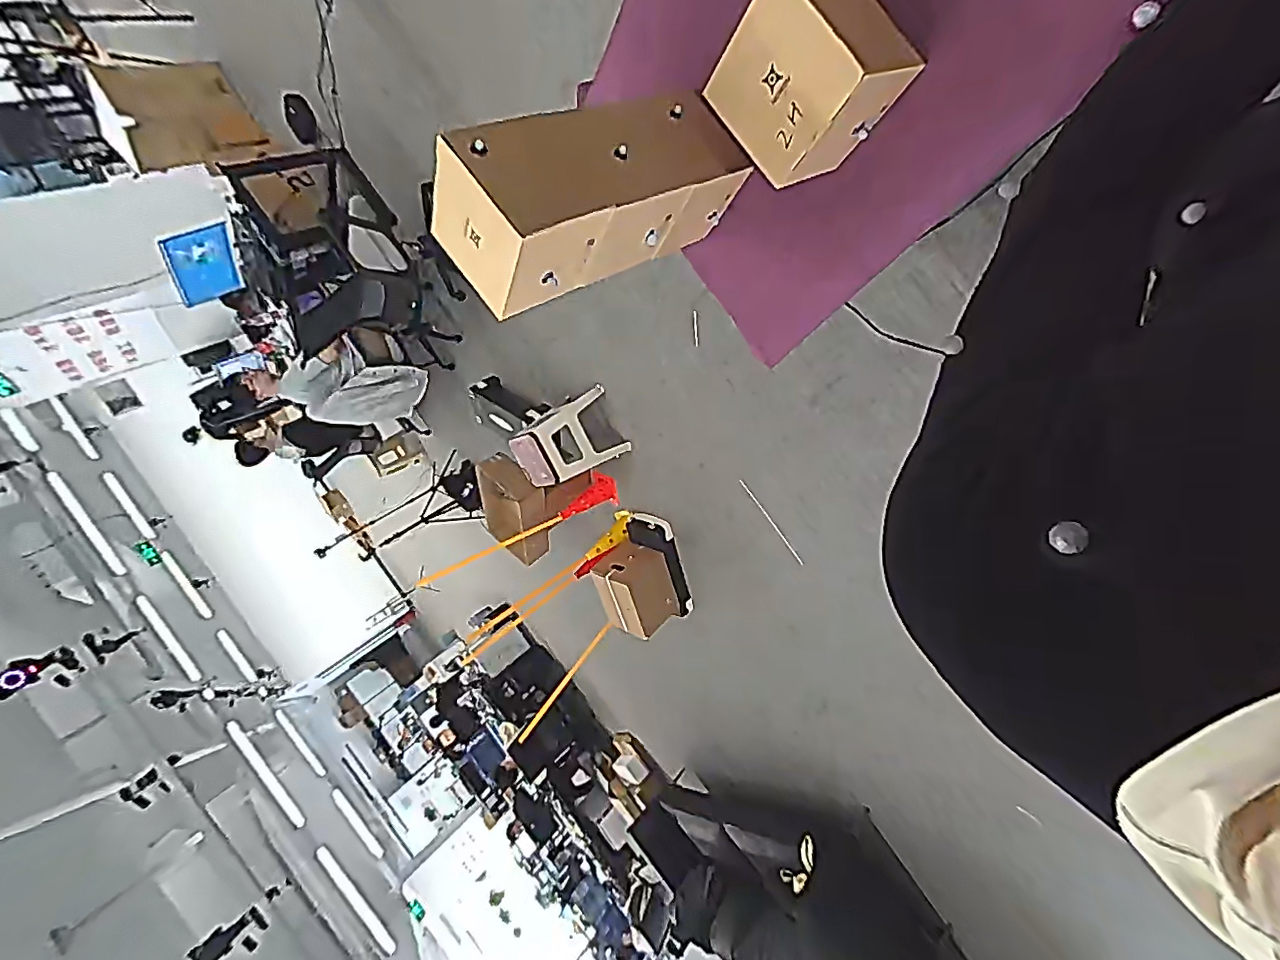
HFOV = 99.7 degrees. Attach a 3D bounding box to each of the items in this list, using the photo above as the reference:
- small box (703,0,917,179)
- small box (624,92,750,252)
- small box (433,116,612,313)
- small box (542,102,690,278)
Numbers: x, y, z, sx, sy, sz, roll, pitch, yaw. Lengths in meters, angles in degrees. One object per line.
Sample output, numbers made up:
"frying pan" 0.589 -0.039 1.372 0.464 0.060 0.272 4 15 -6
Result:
"small box" 0.226 -0.546 0.723 0.179 0.176 0.168 53 148 1
"small box" 0.055 -0.541 0.945 0.179 0.176 0.168 52 148 2
"small box" -0.168 -0.379 0.770 0.179 0.176 0.168 52 148 3
"small box" -0.057 -0.461 0.856 0.179 0.176 0.168 52 148 2
